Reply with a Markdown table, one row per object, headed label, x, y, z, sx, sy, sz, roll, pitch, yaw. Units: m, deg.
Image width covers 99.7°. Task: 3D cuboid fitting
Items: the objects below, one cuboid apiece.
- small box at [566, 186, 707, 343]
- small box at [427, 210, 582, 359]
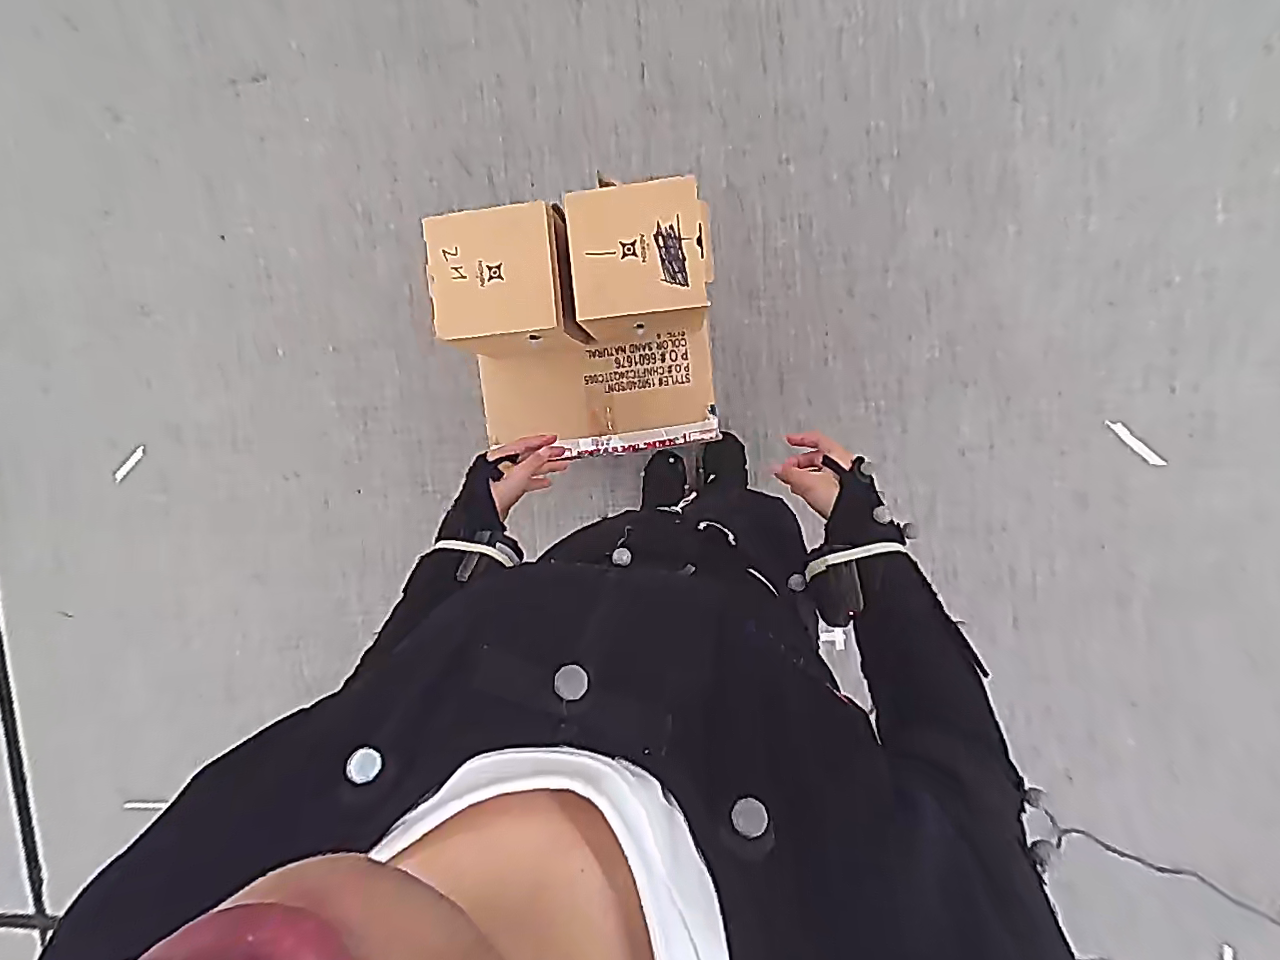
| label | x | y | z | sx | sy | sz | roll | pitch | yaw |
| --- | --- | --- | --- | --- | --- | --- | --- | --- | --- |
| small box | 0.000 | -0.300 | 0.788 | 0.179 | 0.176 | 0.168 | -5 | 95 | 5 |
| small box | -0.188 | -0.279 | 0.808 | 0.179 | 0.176 | 0.168 | -4 | 94 | 9 |
